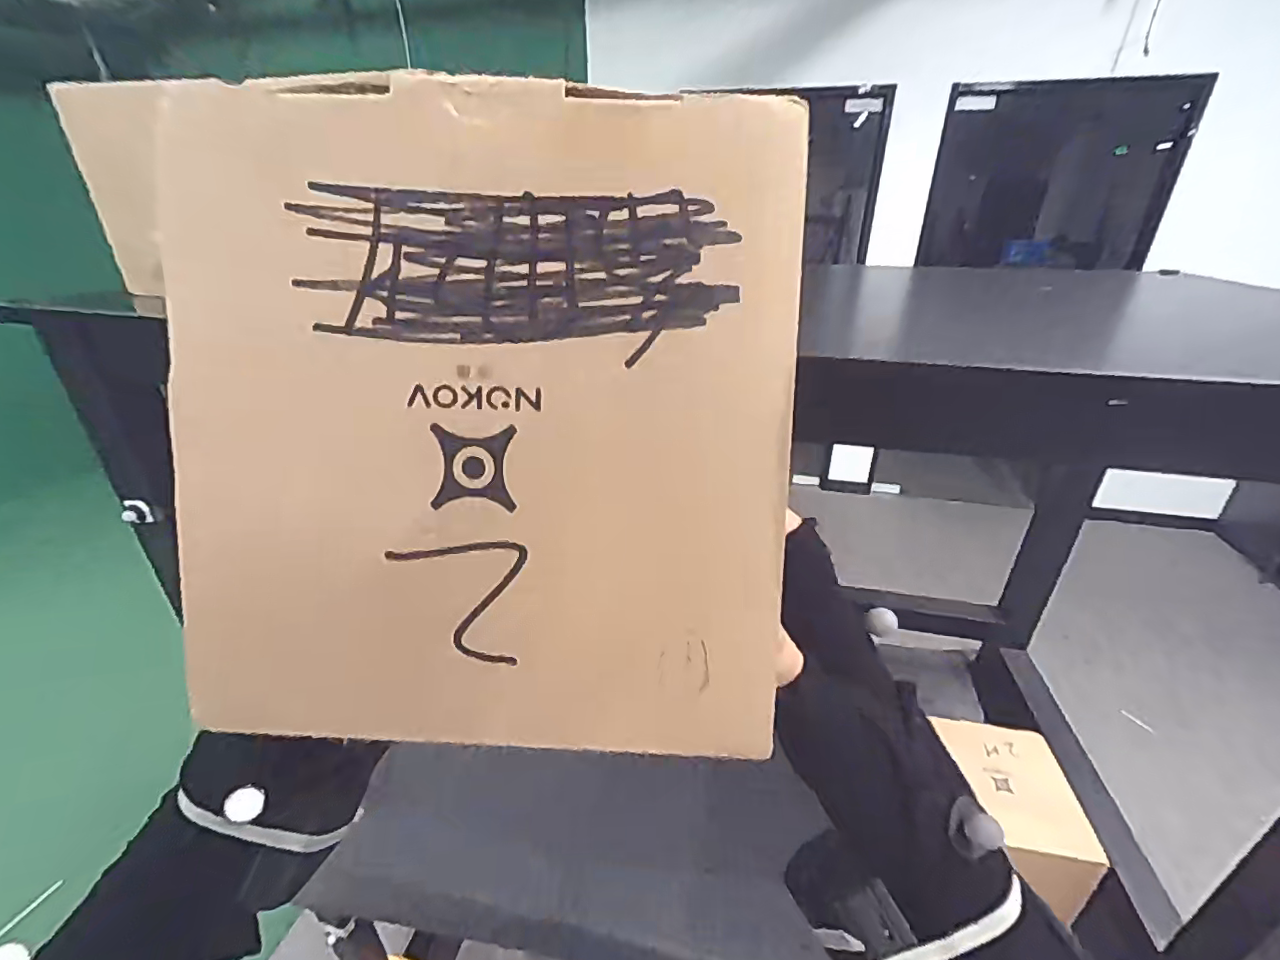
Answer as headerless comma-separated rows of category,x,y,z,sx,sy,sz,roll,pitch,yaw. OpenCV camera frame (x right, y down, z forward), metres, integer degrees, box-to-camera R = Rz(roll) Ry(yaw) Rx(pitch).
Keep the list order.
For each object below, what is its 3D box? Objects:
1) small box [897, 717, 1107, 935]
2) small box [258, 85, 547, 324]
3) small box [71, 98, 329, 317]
small box,0.462,0.458,0.725,0.168,0.176,0.179,5,26,10
small box,-0.197,-0.247,0.508,0.168,0.176,0.179,8,27,15
small box,-0.382,-0.270,0.546,0.168,0.176,0.179,6,28,10
